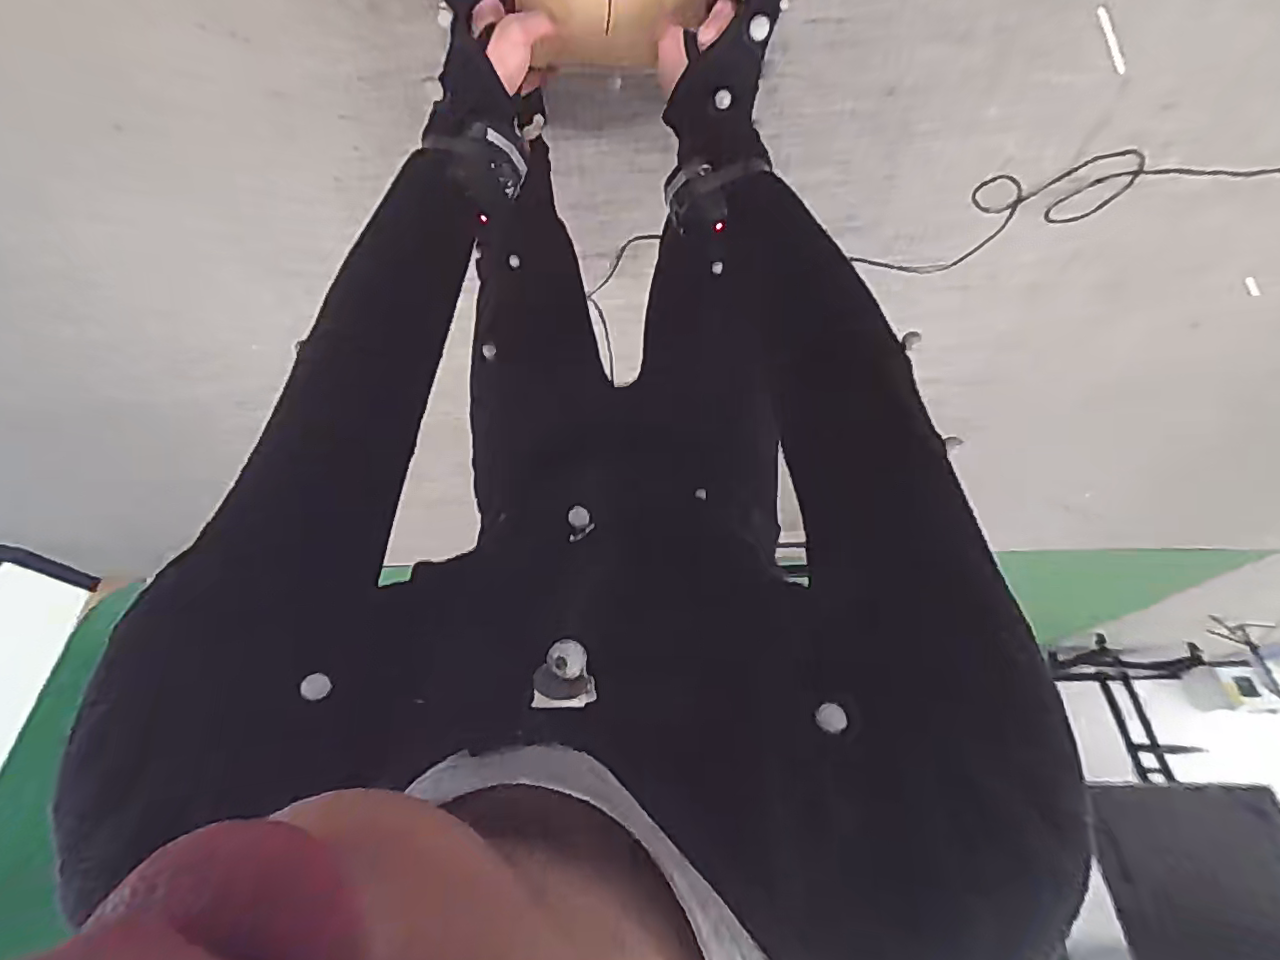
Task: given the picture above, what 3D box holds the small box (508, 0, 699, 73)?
[{"bbox_3d":[-0.024,-0.492,0.499,0.168,0.176,0.179,5,127,2],"label":"small box"}]
